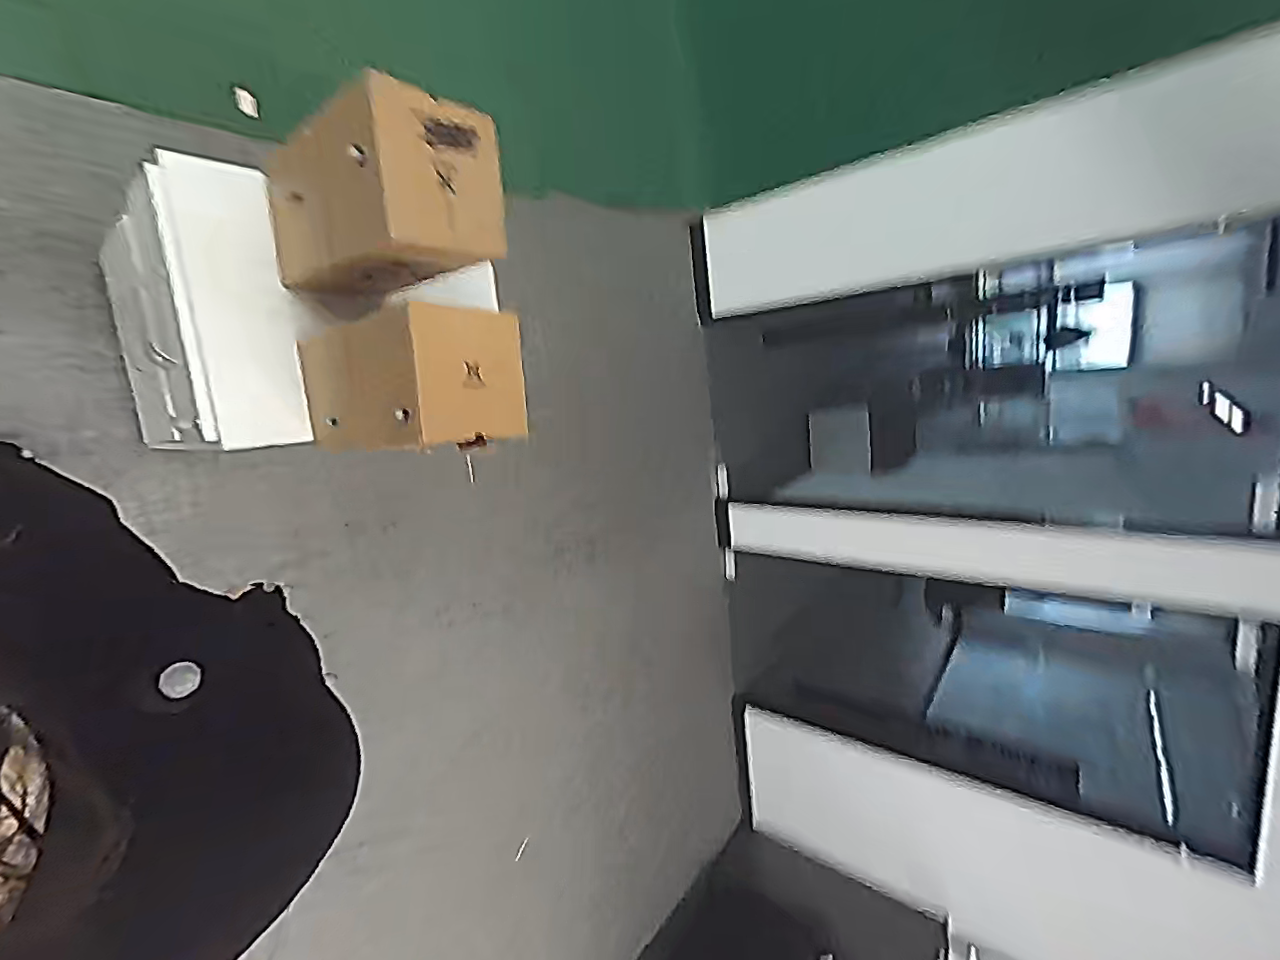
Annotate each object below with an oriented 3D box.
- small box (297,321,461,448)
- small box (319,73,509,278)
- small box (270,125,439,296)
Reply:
[{"bbox_3d":[-0.412,-0.146,0.857,0.168,0.176,0.179,-16,103,-51],"label":"small box"},{"bbox_3d":[-0.298,-0.379,0.713,0.168,0.176,0.179,-15,107,-49],"label":"small box"},{"bbox_3d":[-0.430,-0.387,0.814,0.168,0.176,0.179,-14,105,-49],"label":"small box"}]
